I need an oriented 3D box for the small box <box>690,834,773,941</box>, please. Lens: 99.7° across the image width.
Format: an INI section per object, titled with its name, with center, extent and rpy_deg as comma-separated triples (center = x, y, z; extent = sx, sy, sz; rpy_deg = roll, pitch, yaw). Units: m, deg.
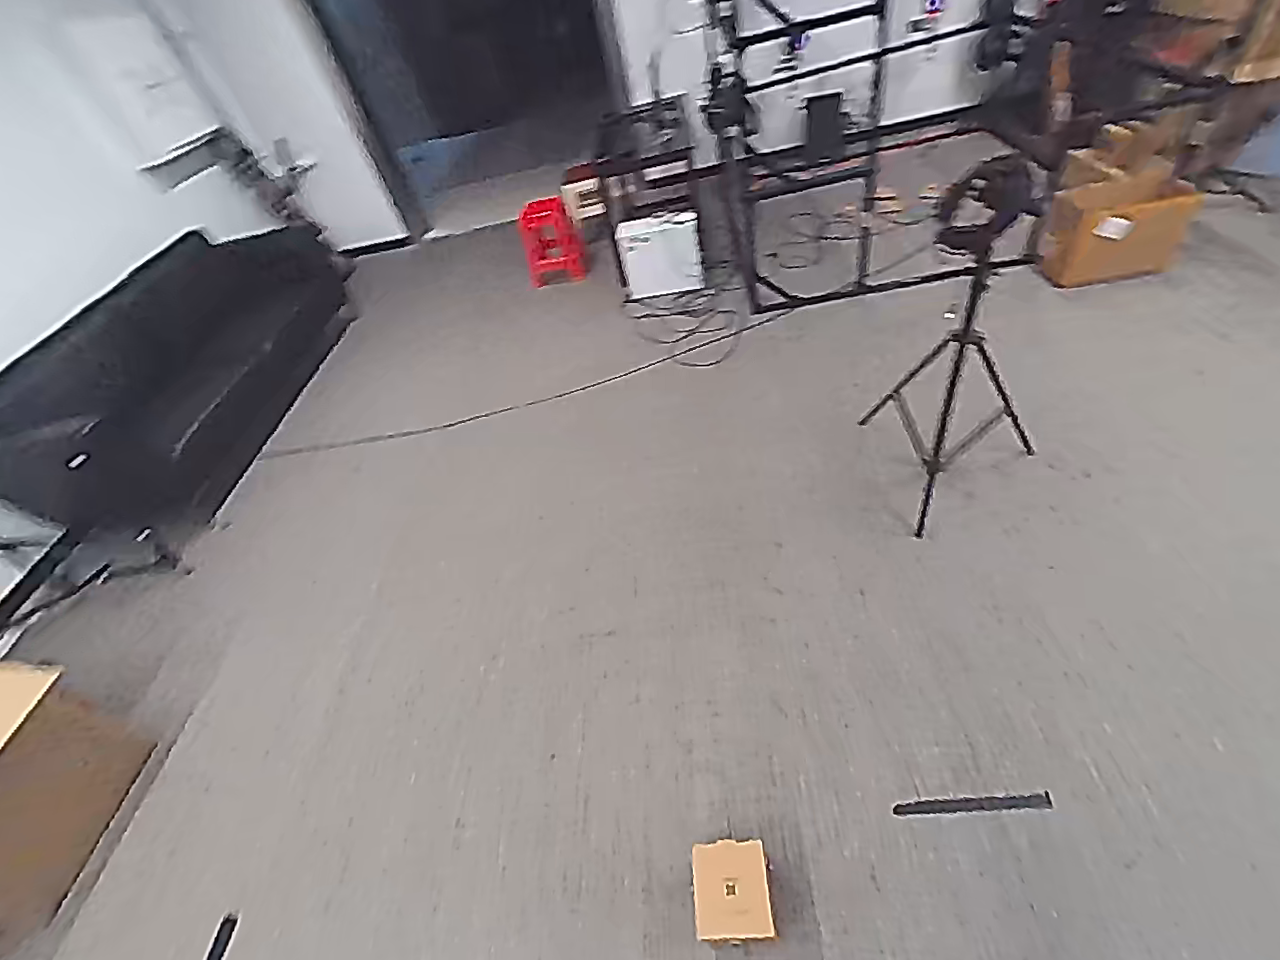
[small box]
center = 0.211, 0.944, 1.251
extent = 0.168, 0.176, 0.179
rpy_deg = -9, 45, 10
